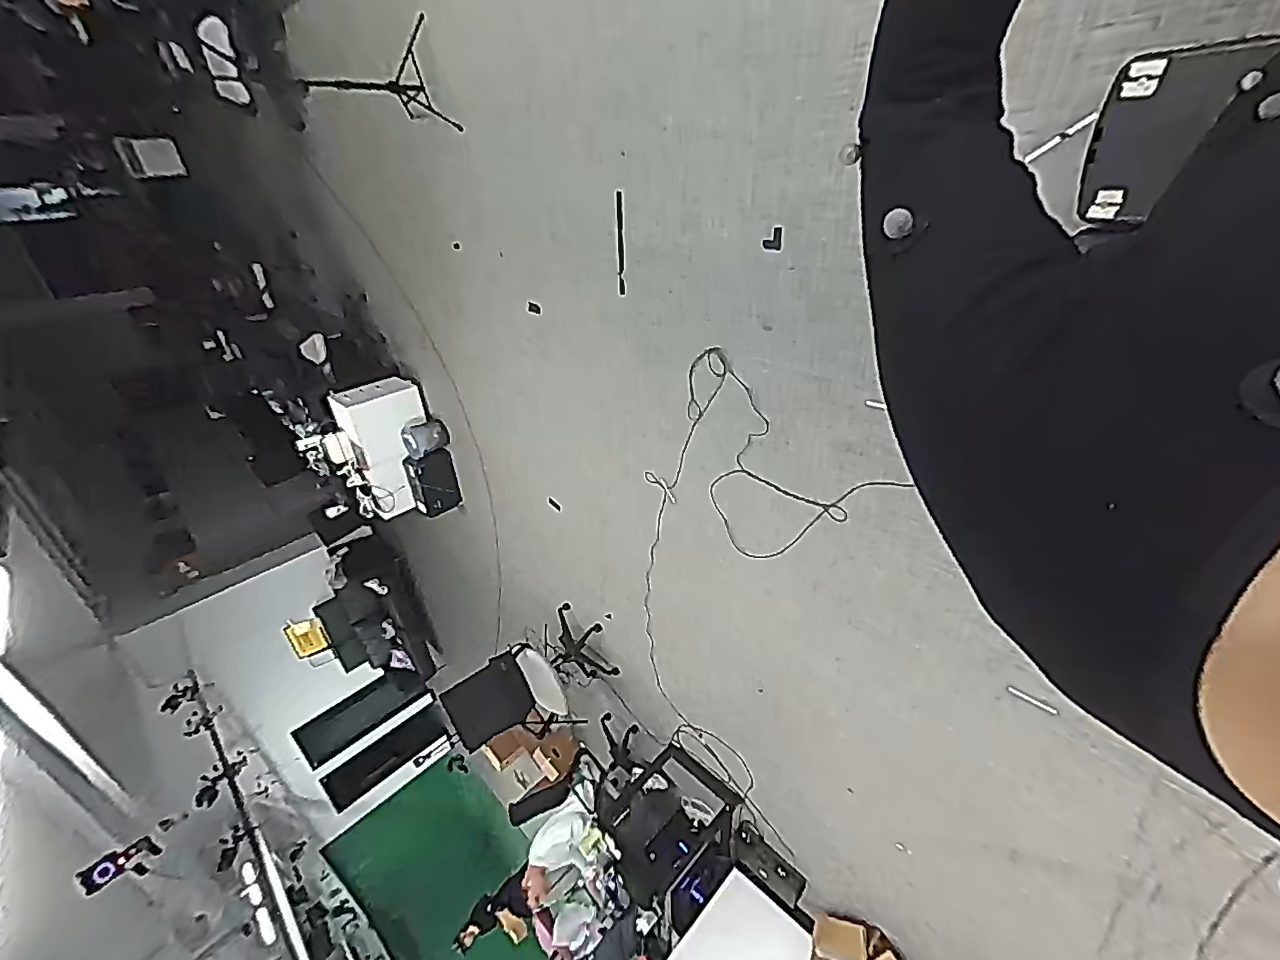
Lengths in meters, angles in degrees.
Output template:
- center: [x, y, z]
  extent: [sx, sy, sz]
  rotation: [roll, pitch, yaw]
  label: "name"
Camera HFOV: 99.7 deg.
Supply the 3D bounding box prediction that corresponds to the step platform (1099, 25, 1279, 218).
- center: [1.191, -0.585, 0.868]
  extent: [0.684, 0.204, 0.286]
  rotation: [22, 129, 39]
  label: "step platform"
